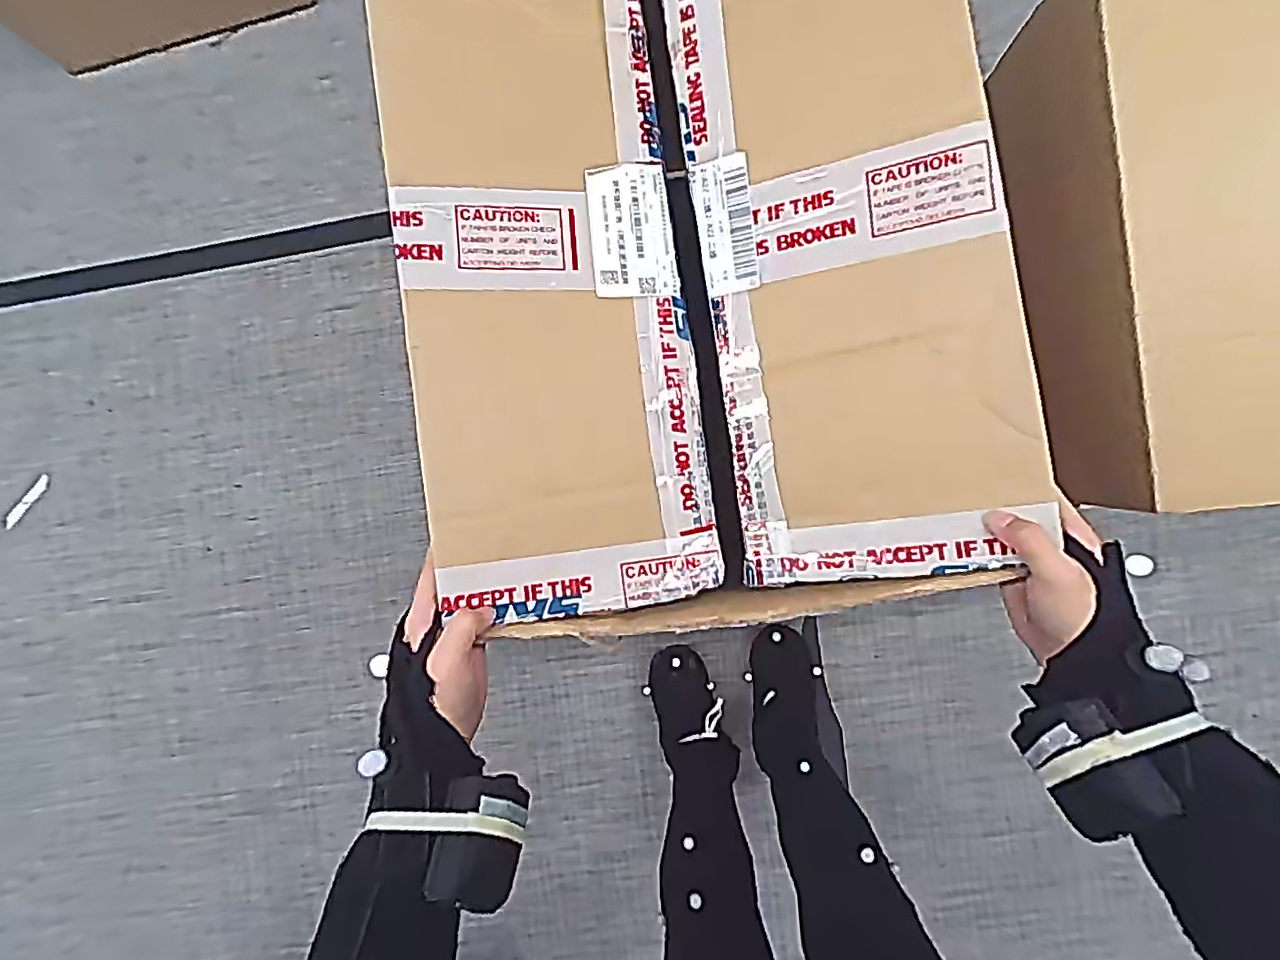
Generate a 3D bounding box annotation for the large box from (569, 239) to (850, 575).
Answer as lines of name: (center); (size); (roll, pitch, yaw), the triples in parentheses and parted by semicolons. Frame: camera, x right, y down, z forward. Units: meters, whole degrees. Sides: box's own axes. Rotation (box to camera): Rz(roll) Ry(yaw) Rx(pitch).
large box: (0.095, -0.095, 0.850); (0.320, 0.320, 0.408); (-9, 90, 4)
